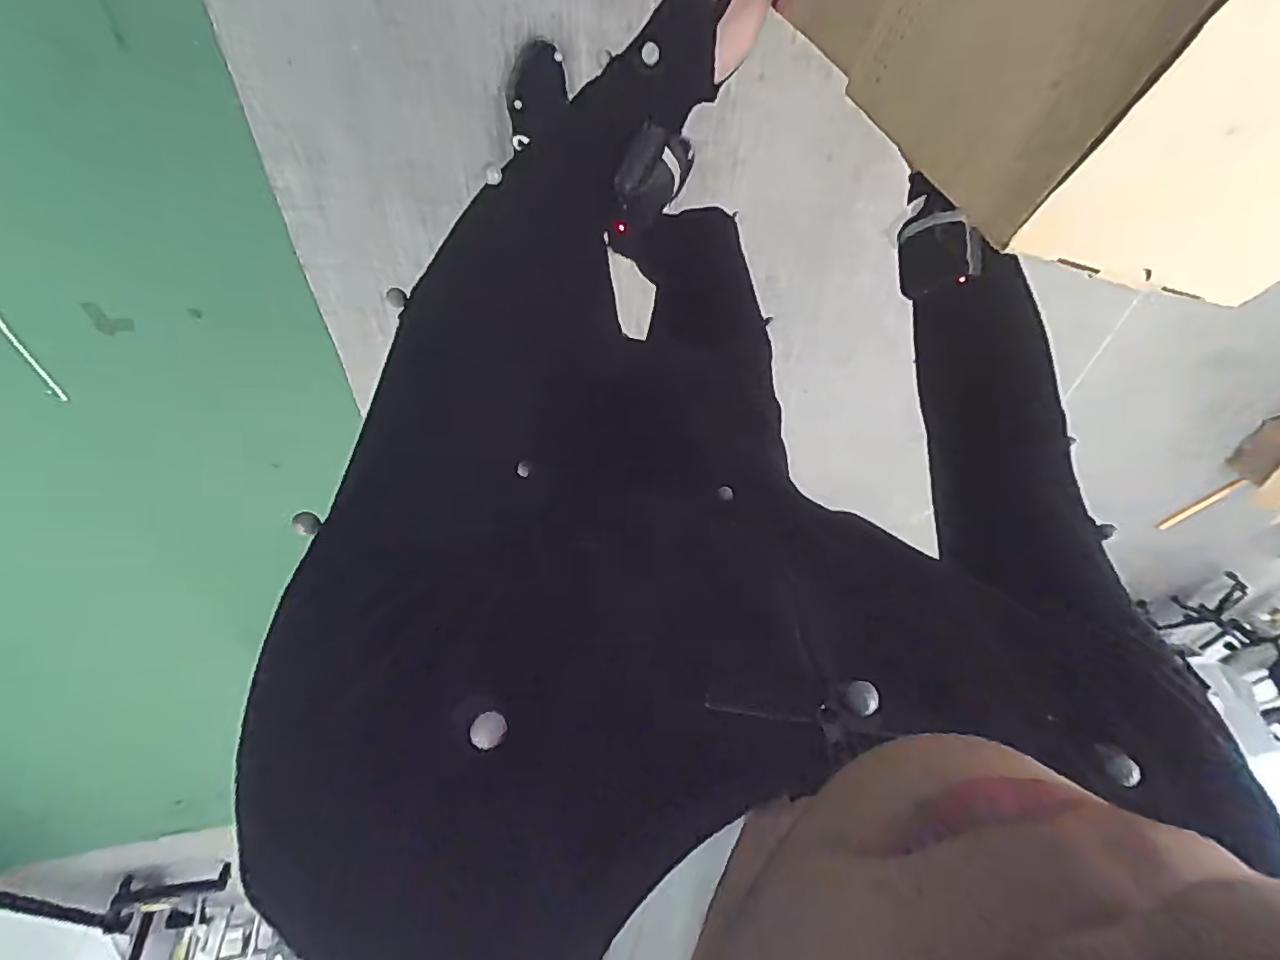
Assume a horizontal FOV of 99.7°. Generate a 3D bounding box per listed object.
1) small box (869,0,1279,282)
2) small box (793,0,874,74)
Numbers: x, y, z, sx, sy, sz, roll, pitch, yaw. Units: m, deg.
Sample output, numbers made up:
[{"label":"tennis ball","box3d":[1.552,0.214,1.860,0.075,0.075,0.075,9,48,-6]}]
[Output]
[{"label":"small box","box3d":[0.225,-0.216,0.223,0.168,0.176,0.179,1,144,-18]},{"label":"small box","box3d":[0.202,-0.350,0.315,0.168,0.176,0.179,3,142,-19]}]
